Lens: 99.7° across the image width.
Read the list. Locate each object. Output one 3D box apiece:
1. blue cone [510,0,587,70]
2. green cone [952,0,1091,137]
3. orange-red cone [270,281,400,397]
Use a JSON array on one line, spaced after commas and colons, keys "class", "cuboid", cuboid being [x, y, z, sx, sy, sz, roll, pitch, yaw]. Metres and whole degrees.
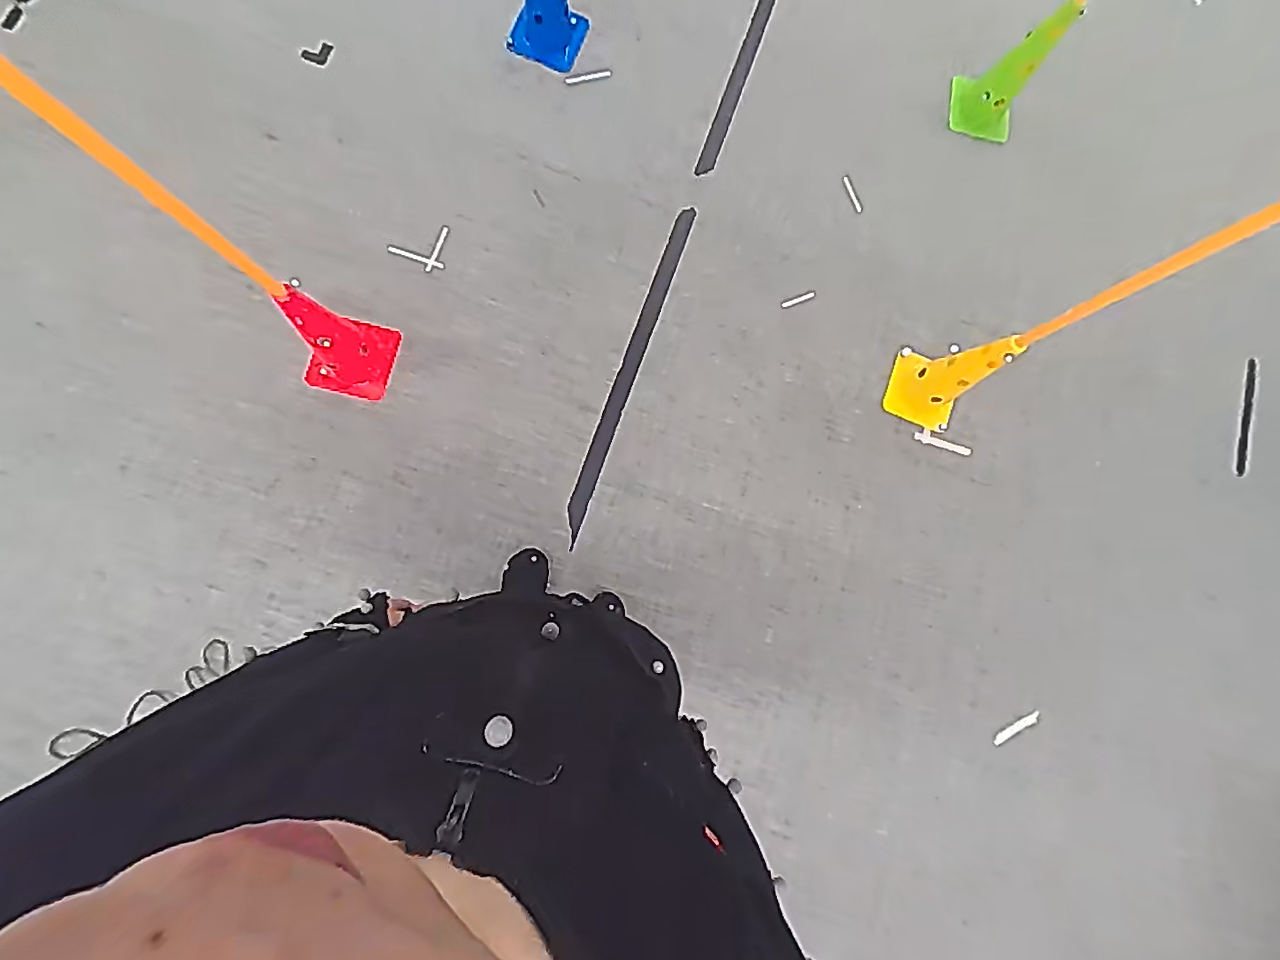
[{"class": "blue cone", "cuboid": [-0.250, -1.333, 1.425, 0.193, 0.380, 0.192, 22, 81, -2]}, {"class": "green cone", "cuboid": [1.104, -1.212, 1.541, 0.200, 0.368, 0.202, 9, 83, -4]}, {"class": "orange-red cone", "cuboid": [-0.715, -0.346, 1.216, 0.199, 0.360, 0.198, 15, 81, -5]}]
